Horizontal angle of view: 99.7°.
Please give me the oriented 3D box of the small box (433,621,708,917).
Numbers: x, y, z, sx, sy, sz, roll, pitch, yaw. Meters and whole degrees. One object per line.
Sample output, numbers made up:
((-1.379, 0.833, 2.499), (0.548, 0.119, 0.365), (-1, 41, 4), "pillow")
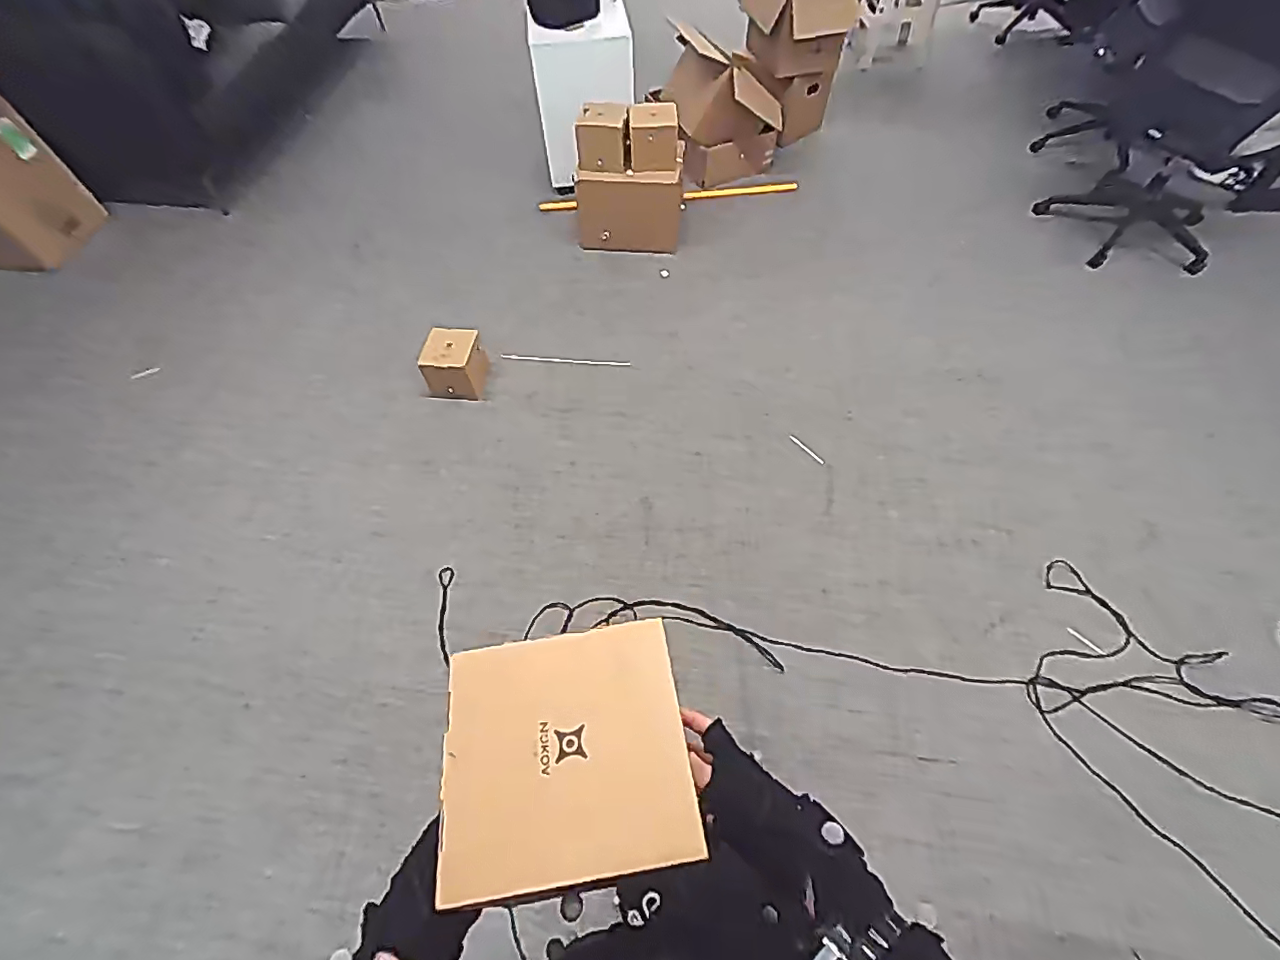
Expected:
((-0.049, 0.237, 0.446), (0.179, 0.176, 0.168), (-10, 53, -2), "small box")

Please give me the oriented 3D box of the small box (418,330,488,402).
((-0.640, -0.395, 1.879), (0.168, 0.176, 0.179), (4, 58, 4), "small box")
